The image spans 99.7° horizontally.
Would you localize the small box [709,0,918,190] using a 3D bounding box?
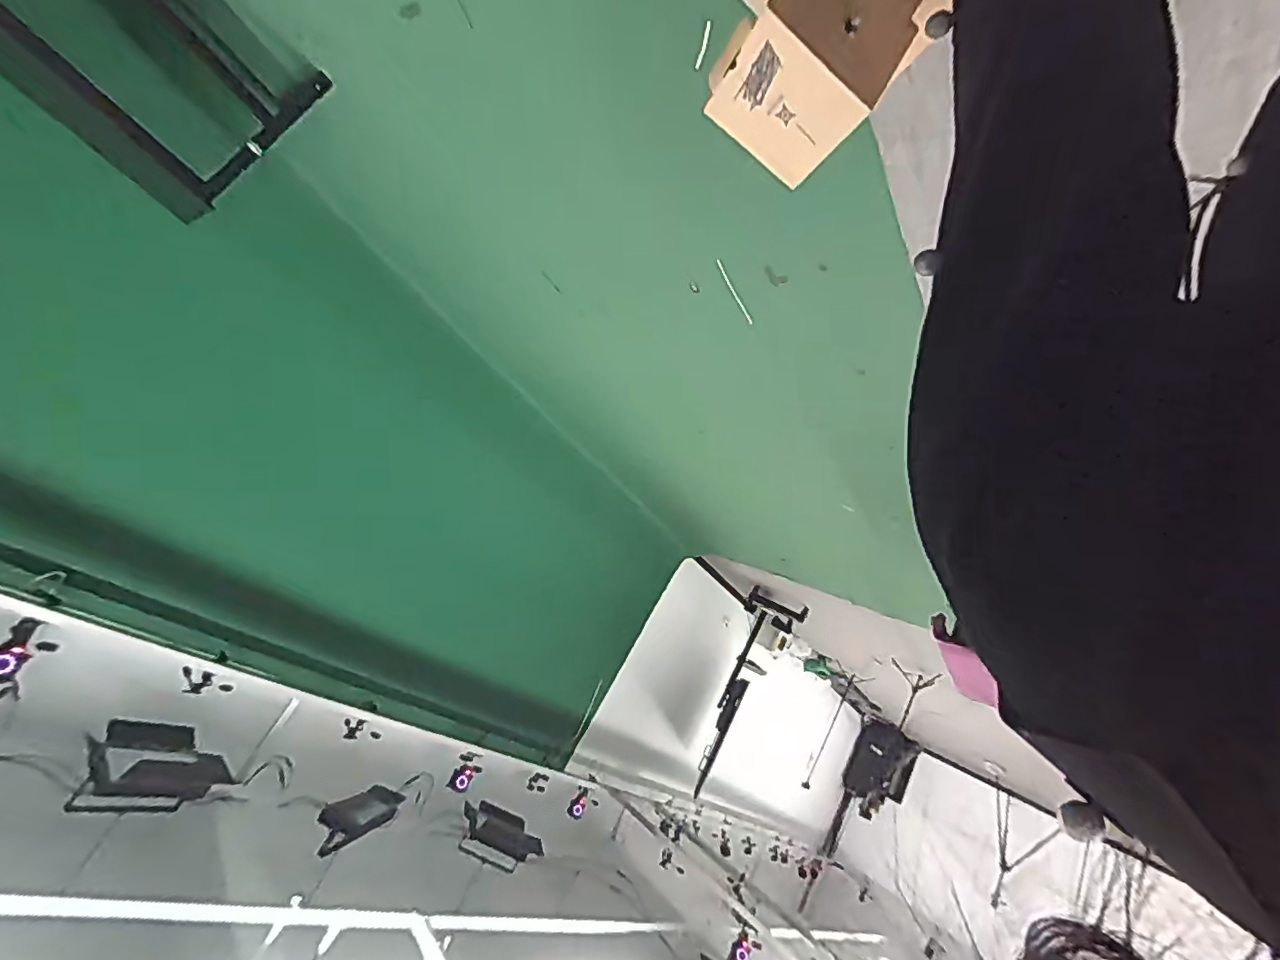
[{"bbox_3d":[0.232,-0.553,0.734,0.179,0.176,0.168,34,165,-13],"label":"small box"}]
